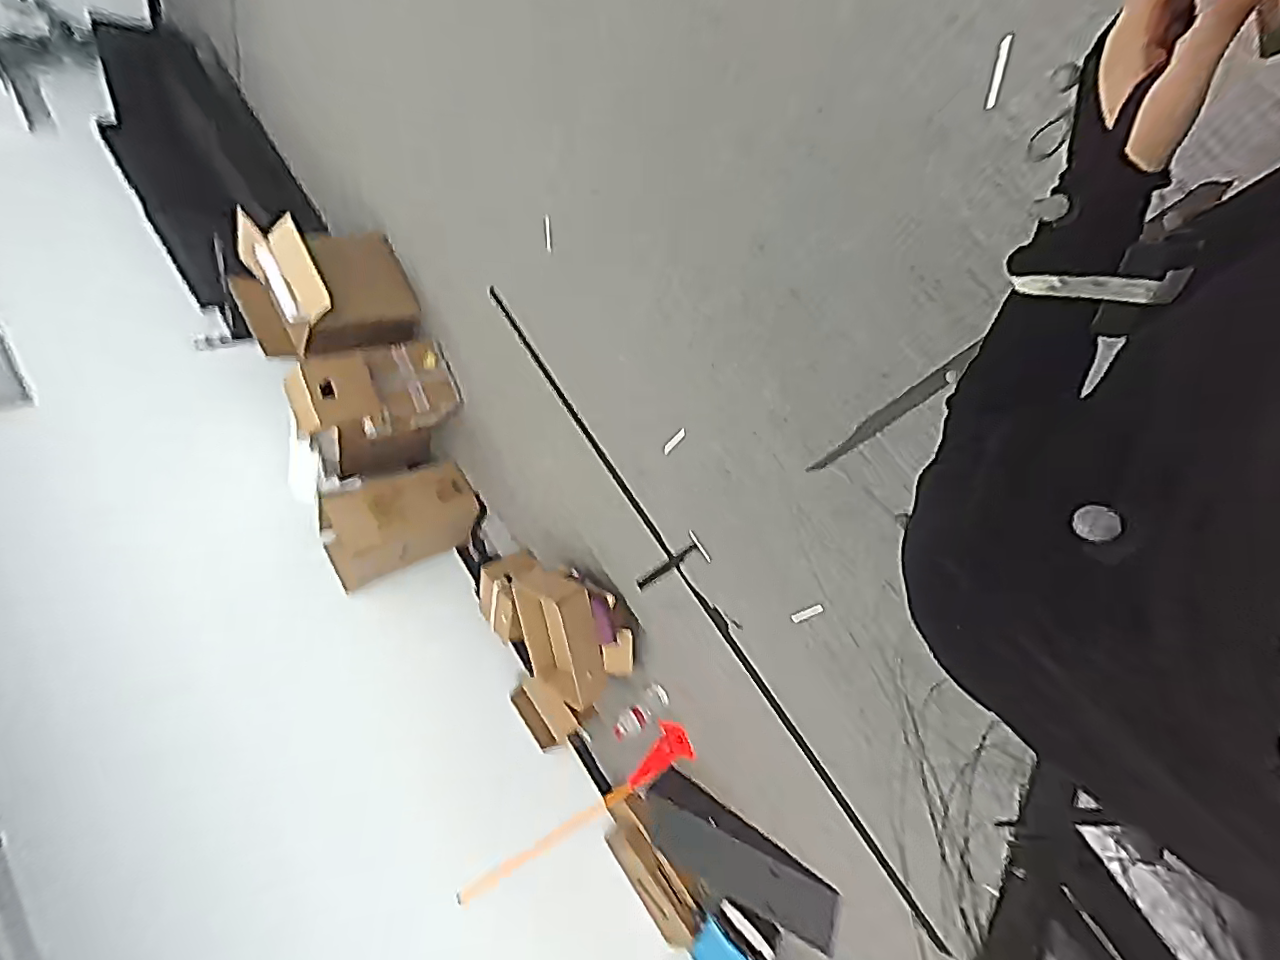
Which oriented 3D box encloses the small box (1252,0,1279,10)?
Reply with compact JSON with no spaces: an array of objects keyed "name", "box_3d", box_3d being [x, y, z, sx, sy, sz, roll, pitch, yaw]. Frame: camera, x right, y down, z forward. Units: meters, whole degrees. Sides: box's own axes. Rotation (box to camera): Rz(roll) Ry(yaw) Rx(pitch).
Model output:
[{"name":"small box","box_3d":[0.322,-0.310,0.181,0.168,0.176,0.179,-9,102,46]}]
